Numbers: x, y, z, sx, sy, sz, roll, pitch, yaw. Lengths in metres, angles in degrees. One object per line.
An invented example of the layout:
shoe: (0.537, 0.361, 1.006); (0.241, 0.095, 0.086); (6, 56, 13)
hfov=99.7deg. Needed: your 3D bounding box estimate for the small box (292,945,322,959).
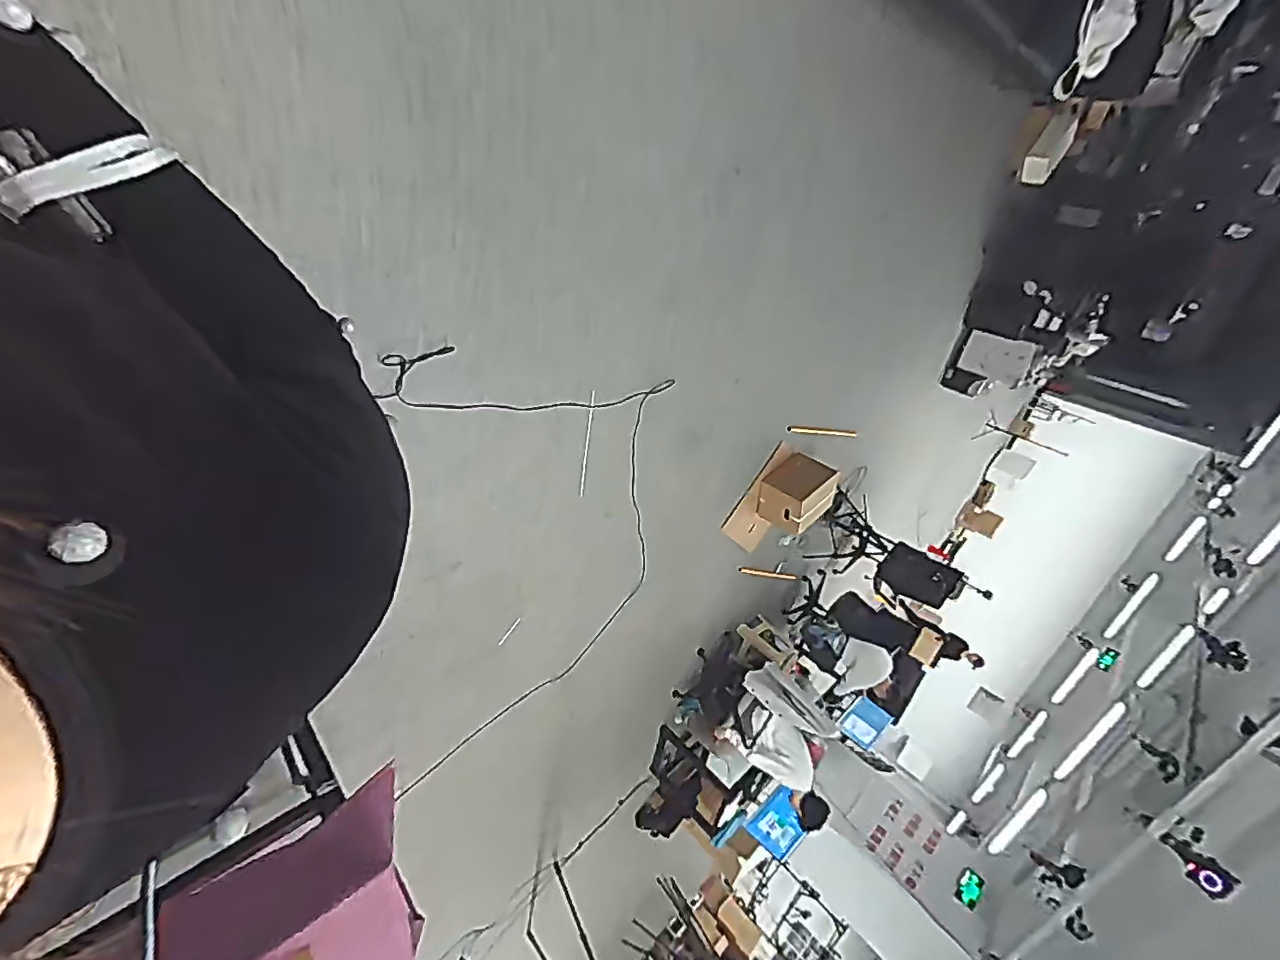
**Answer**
small box: (-0.767, 1.183, 1.172); (0.179, 0.176, 0.168); (-18, 131, -40)
